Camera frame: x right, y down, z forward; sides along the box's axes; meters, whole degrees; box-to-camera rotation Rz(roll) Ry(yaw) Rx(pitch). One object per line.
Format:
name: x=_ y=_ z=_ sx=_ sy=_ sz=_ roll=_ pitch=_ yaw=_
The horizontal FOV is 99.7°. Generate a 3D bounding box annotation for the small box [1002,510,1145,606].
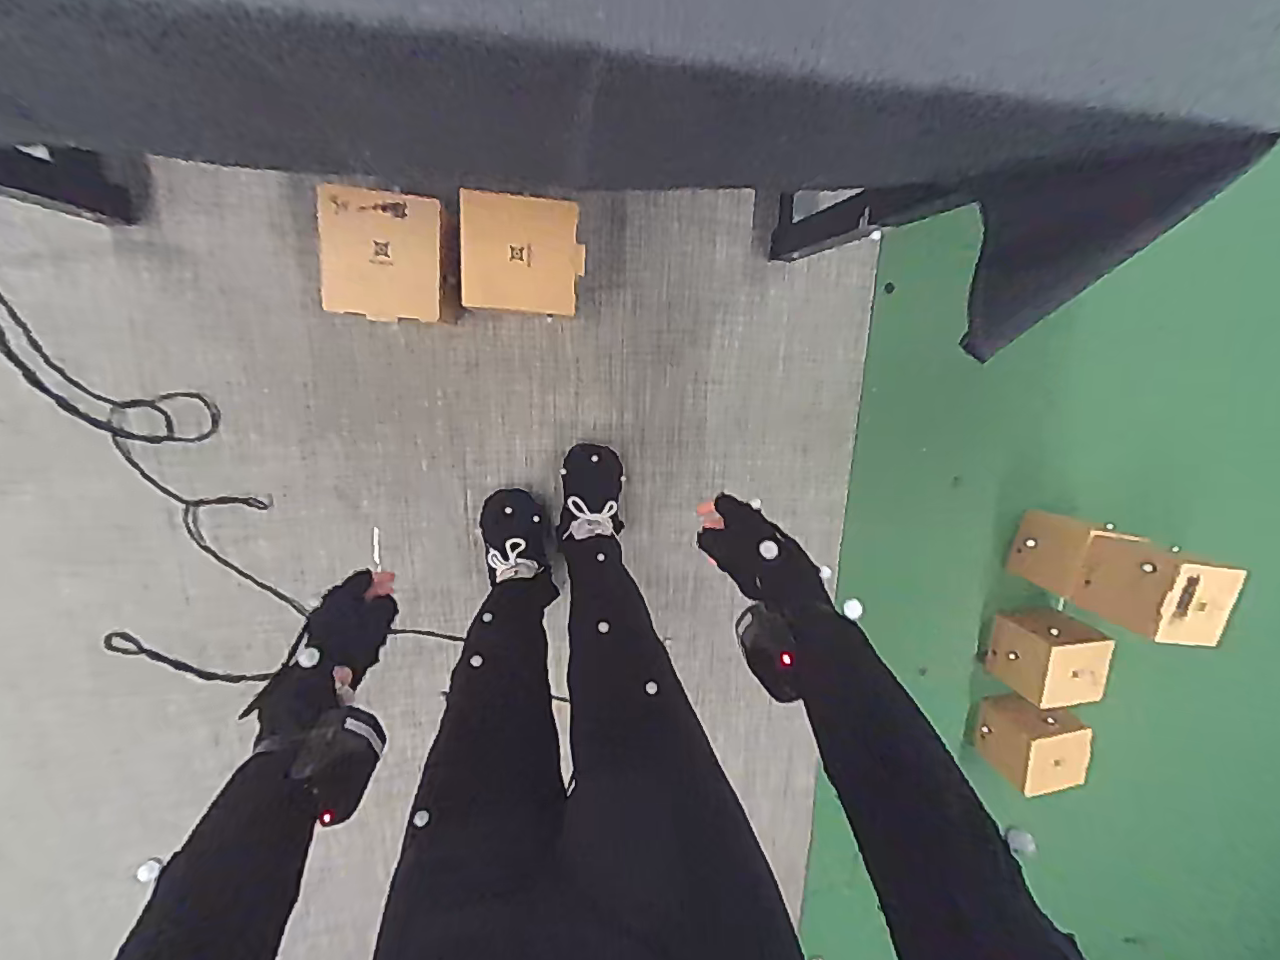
small box: x=1.016 y=0.180 z=1.280 sx=0.179 sy=0.176 sz=0.168 roll=10 pitch=101 yaw=-12

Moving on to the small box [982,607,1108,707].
small box: x=0.990 y=0.430 z=1.337 sx=0.179 sy=0.176 sz=0.168 roll=-3 pitch=105 yaw=-12

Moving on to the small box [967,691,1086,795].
small box: x=0.993 y=0.670 z=1.400 sx=0.179 sy=0.176 sz=0.168 roll=-6 pitch=105 yaw=-10
